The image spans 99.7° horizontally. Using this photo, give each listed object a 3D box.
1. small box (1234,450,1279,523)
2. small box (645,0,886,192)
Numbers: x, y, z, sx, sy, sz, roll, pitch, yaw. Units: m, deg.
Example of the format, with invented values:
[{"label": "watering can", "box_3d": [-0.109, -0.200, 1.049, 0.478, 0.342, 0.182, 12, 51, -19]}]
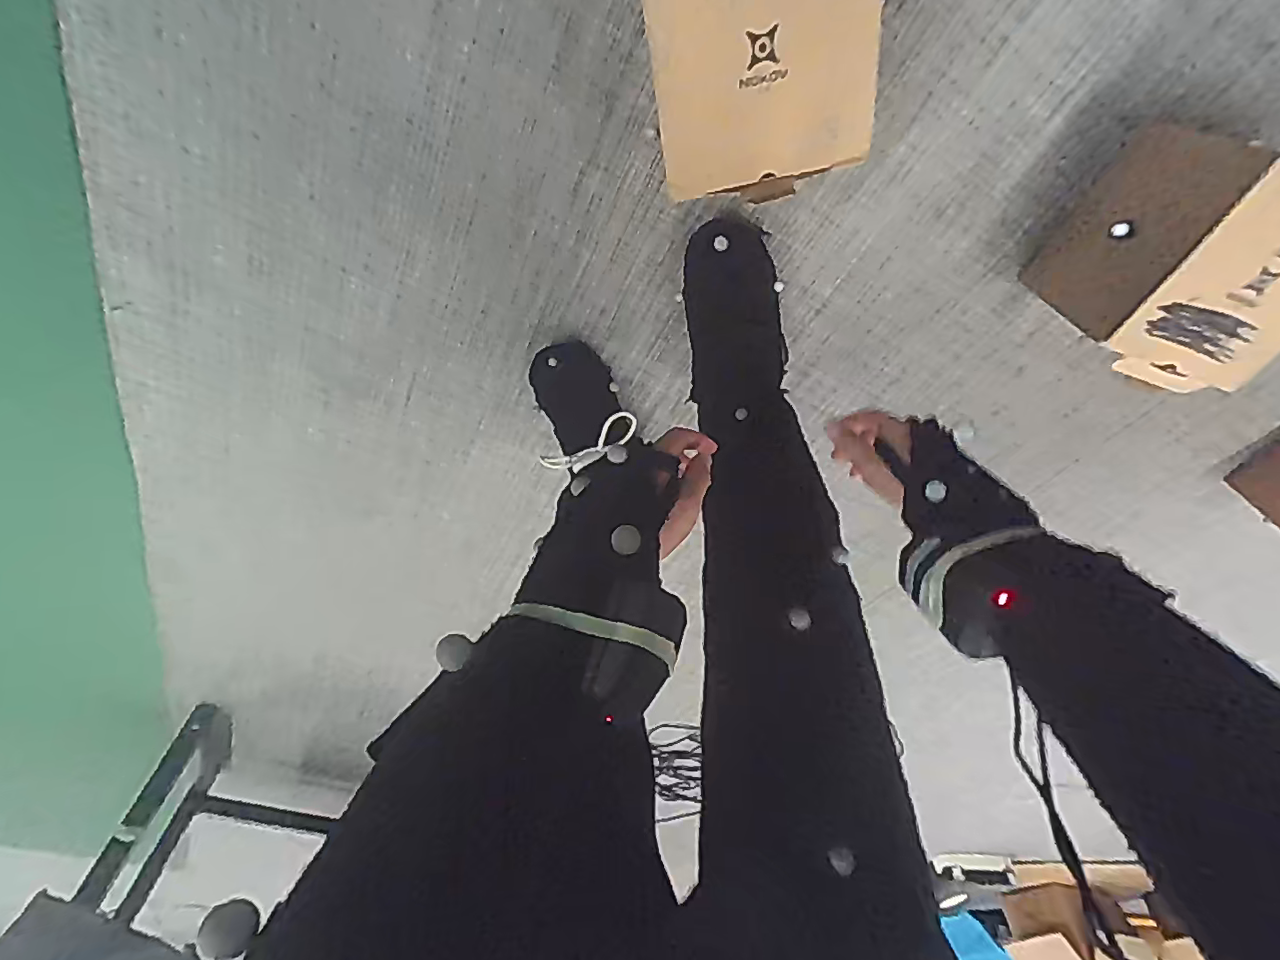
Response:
[{"label": "small box", "box_3d": [1.022, 0.025, 0.752, 0.168, 0.176, 0.179, 21, 130, -16]}, {"label": "small box", "box_3d": [0.093, -0.367, 0.446, 0.168, 0.176, 0.179, -8, 130, 9]}]
